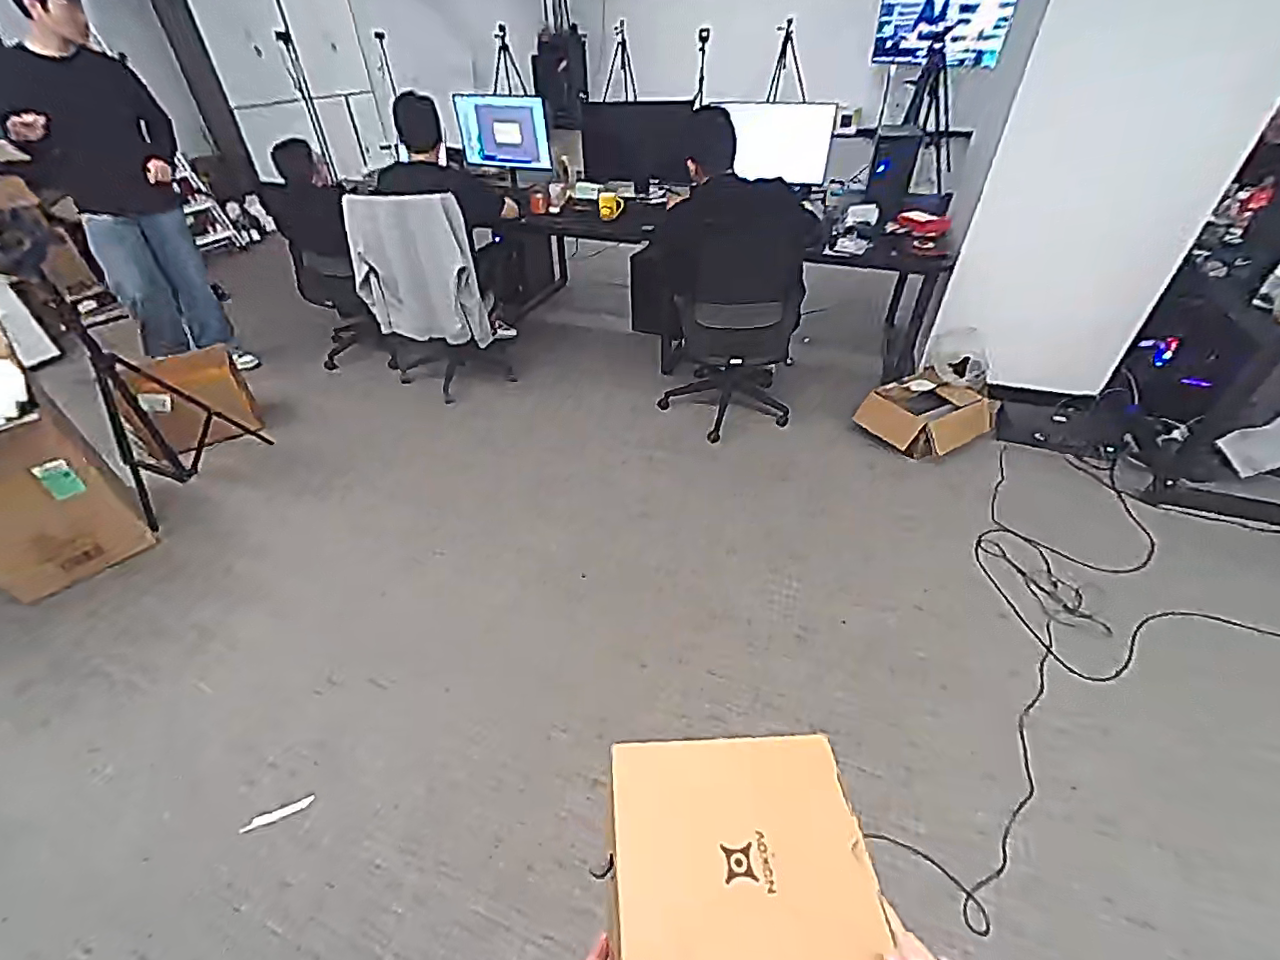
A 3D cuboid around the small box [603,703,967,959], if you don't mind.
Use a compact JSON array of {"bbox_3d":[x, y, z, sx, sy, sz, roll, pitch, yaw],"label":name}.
[{"bbox_3d":[0.087,0.289,0.380,0.168,0.176,0.179,15,19,-19],"label":"small box"}]
